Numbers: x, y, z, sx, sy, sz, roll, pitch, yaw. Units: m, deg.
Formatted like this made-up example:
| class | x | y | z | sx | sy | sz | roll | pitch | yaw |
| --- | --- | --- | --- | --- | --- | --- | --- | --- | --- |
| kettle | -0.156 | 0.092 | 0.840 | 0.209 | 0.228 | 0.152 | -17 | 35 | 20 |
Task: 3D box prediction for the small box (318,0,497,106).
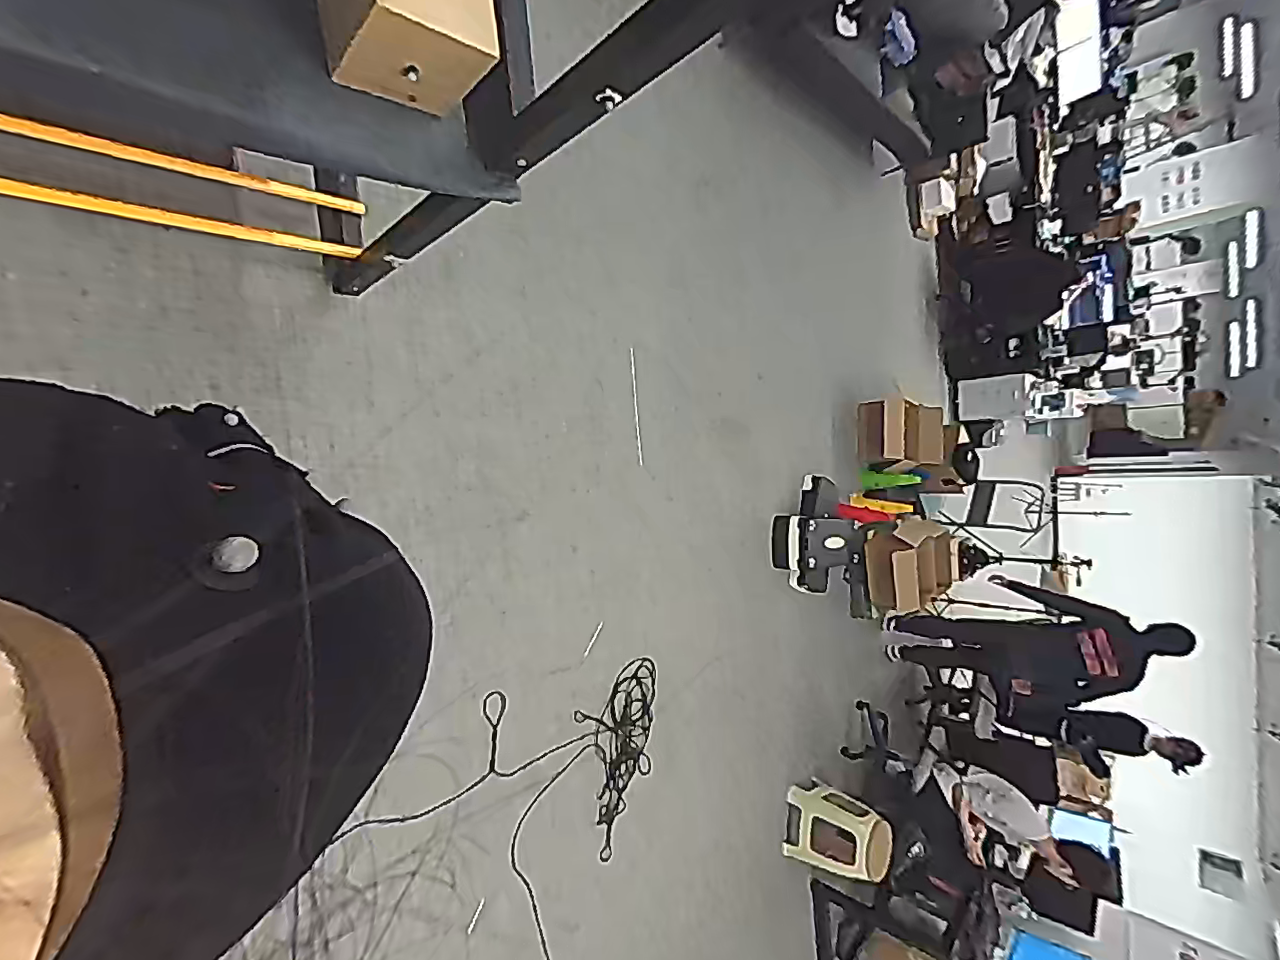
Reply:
| class | x | y | z | sx | sy | sz | roll | pitch | yaw |
| --- | --- | --- | --- | --- | --- | --- | --- | --- | --- |
| small box | -0.316 | -0.648 | 0.723 | 0.168 | 0.176 | 0.179 | -13 | 99 | -46 |
